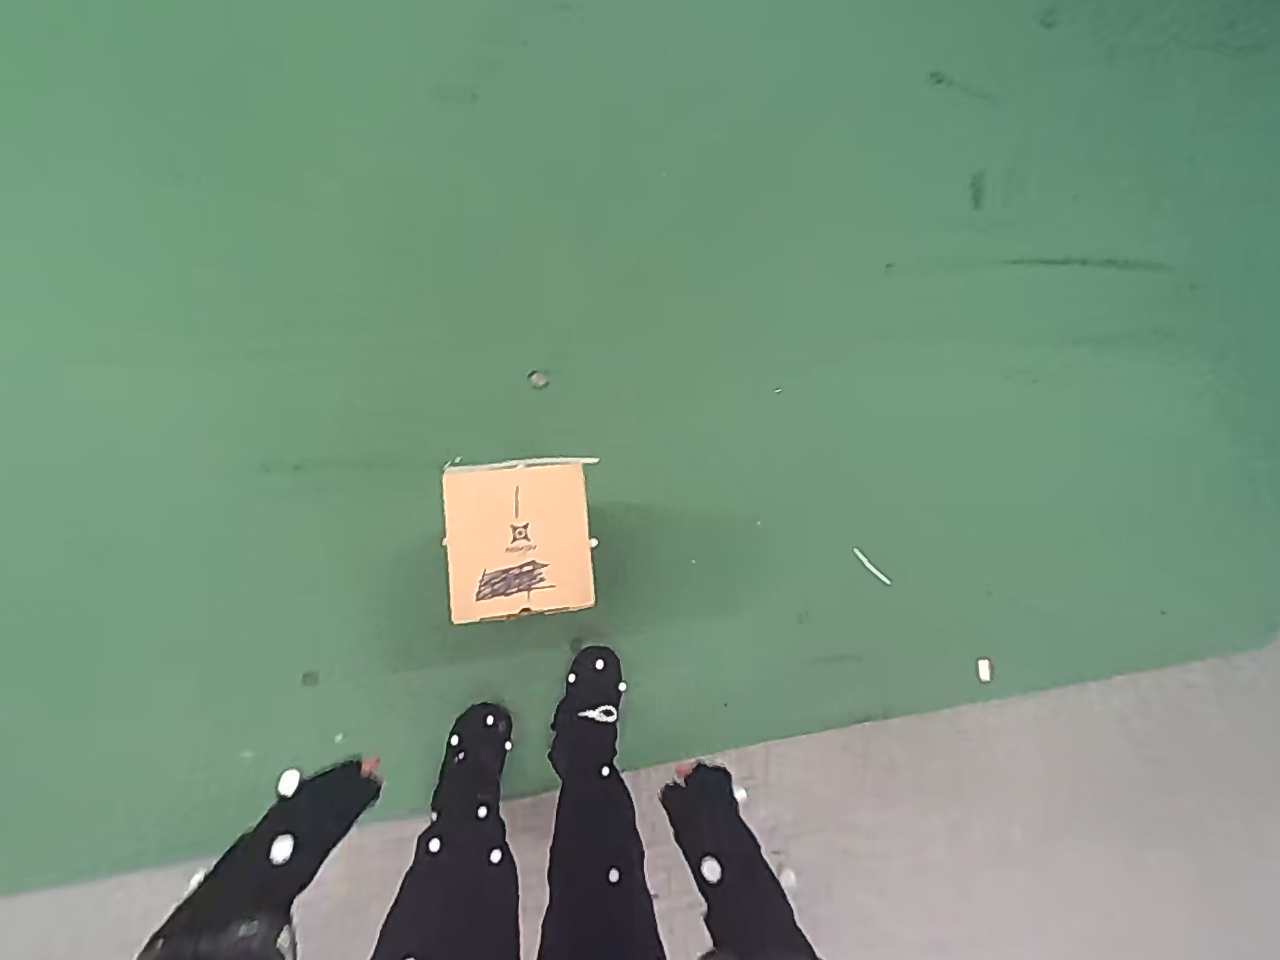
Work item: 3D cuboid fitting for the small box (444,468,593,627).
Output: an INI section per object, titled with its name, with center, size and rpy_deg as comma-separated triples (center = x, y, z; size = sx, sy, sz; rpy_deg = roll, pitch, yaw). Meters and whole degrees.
[small box]
center = -0.155, 0.085, 0.714
size = 0.168, 0.176, 0.179
rpy_deg = -5, 84, -11
